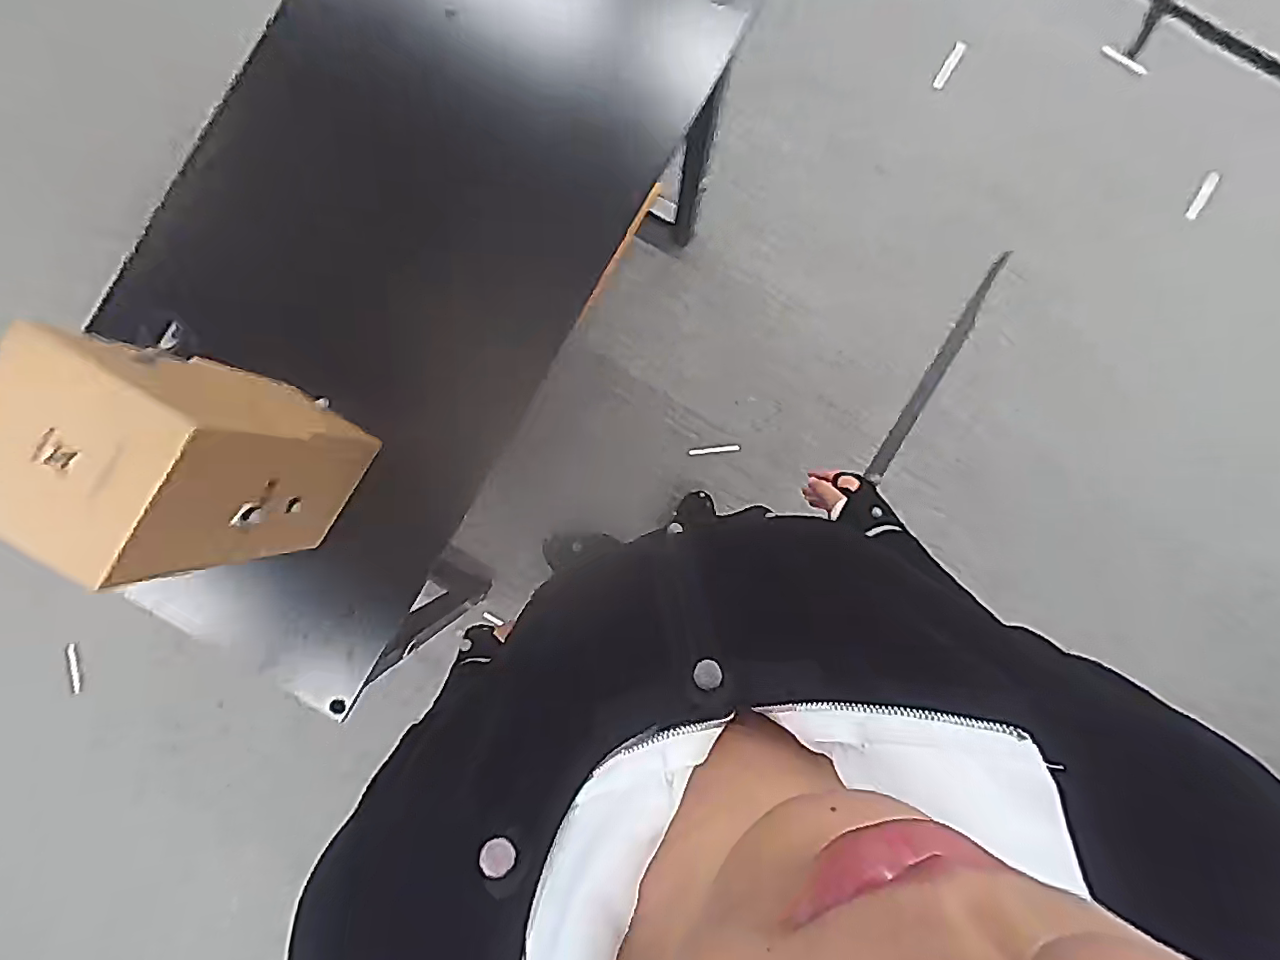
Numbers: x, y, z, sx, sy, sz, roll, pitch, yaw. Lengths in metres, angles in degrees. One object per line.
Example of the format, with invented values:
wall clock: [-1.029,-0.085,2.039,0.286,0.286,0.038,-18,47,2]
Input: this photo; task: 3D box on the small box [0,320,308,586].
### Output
small box: [-0.482,-0.021,0.529,0.179,0.176,0.168,30,90,-1]

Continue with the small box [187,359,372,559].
small box: [-0.483,-0.022,0.691,0.168,0.176,0.179,31,88,0]
